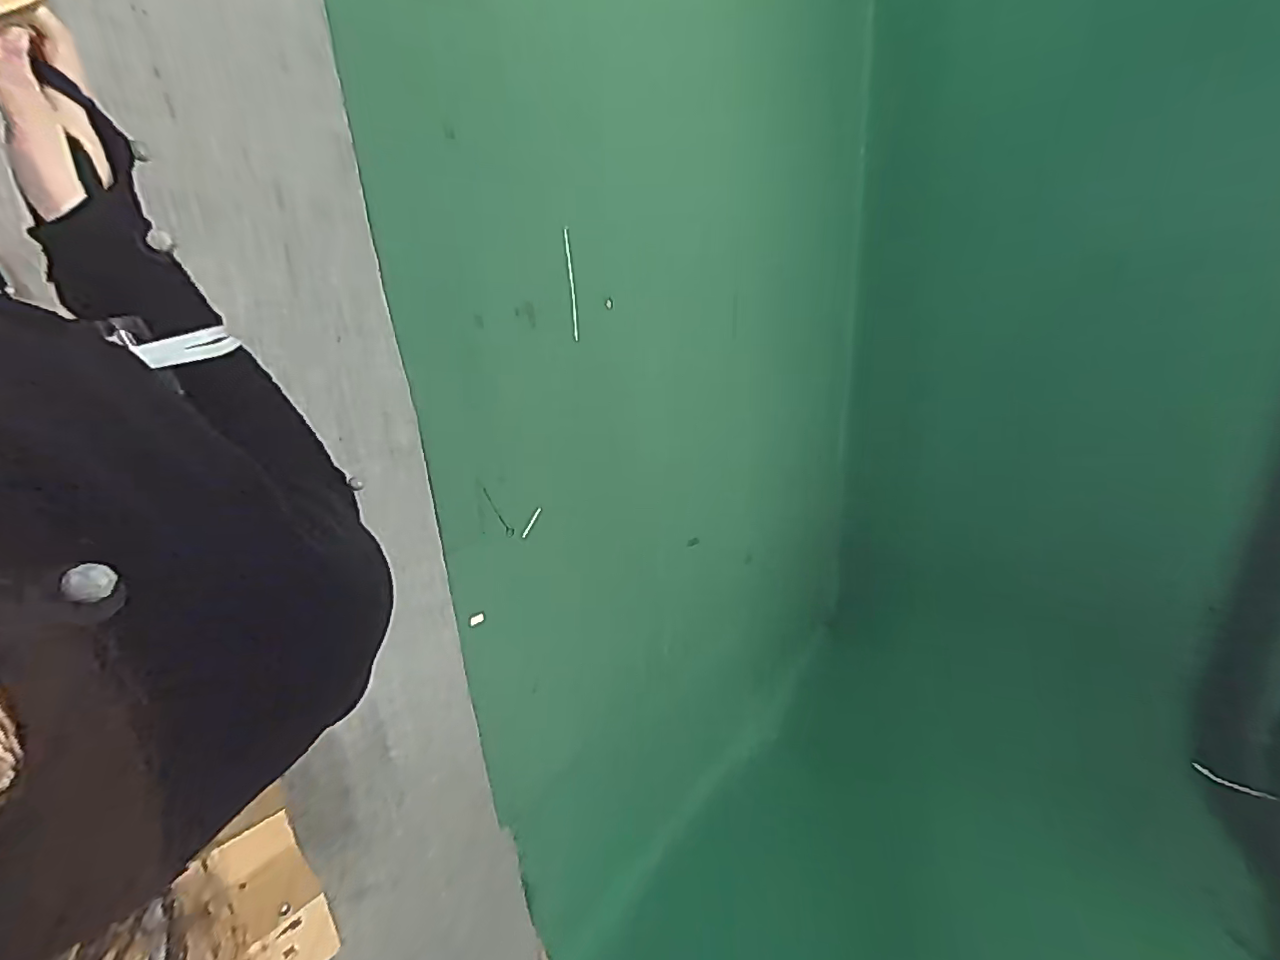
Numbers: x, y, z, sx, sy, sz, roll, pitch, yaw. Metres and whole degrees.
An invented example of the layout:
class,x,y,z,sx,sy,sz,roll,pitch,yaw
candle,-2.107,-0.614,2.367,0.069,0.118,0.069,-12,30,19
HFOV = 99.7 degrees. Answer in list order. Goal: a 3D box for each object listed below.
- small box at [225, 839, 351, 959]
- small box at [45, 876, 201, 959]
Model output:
class,x,y,z,sx,sy,sz,roll,pitch,yaw
small box,-0.744,0.921,1.146,0.168,0.176,0.179,-22,118,-45
small box,-0.900,0.863,0.947,0.179,0.176,0.168,-24,119,-43
